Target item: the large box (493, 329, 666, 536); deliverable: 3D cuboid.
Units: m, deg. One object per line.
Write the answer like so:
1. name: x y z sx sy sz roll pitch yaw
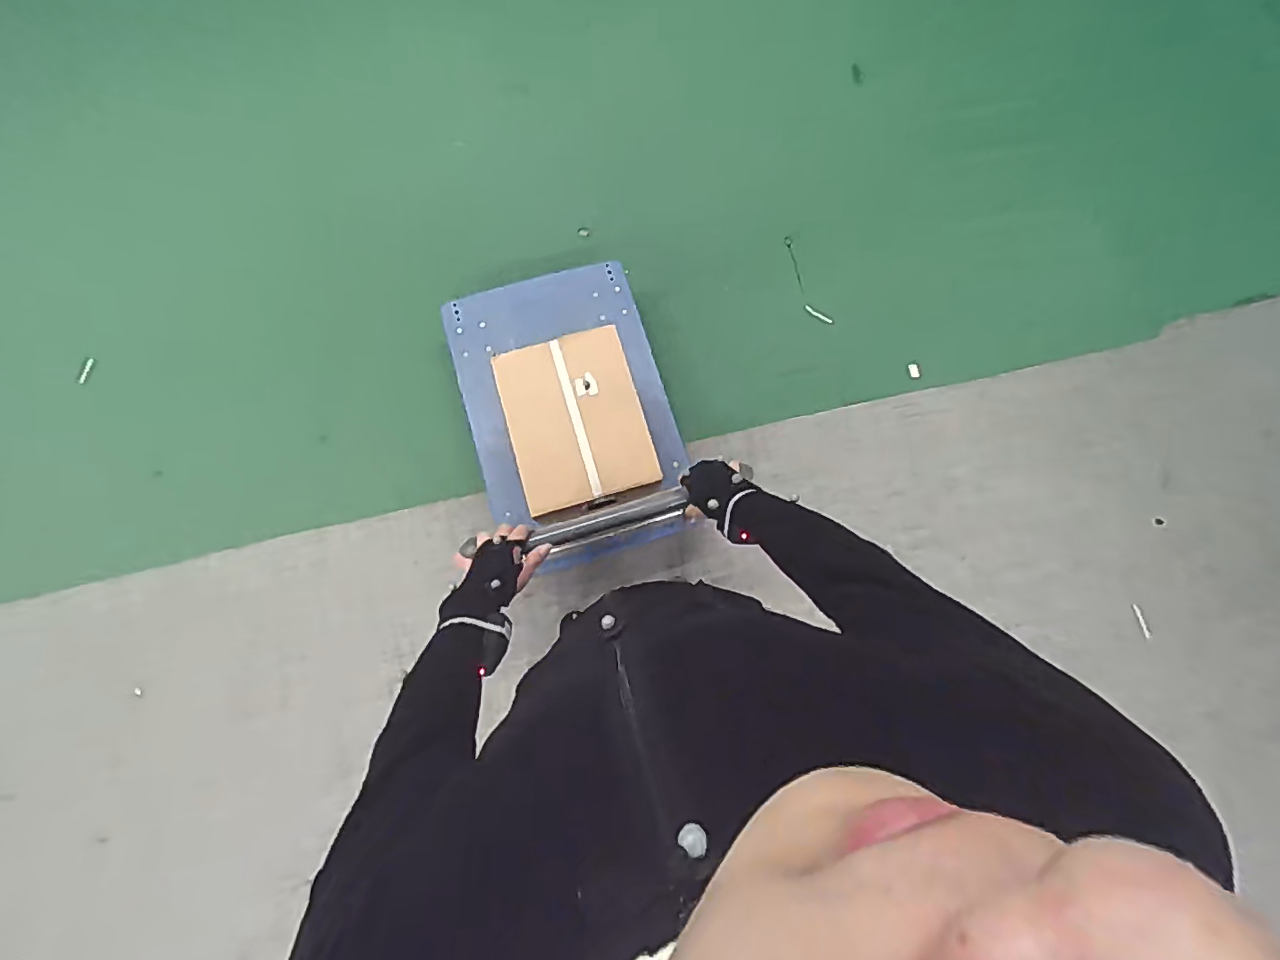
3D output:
1. large box: -0.145 -0.105 1.393 0.320 0.320 0.408 -16 77 -5
